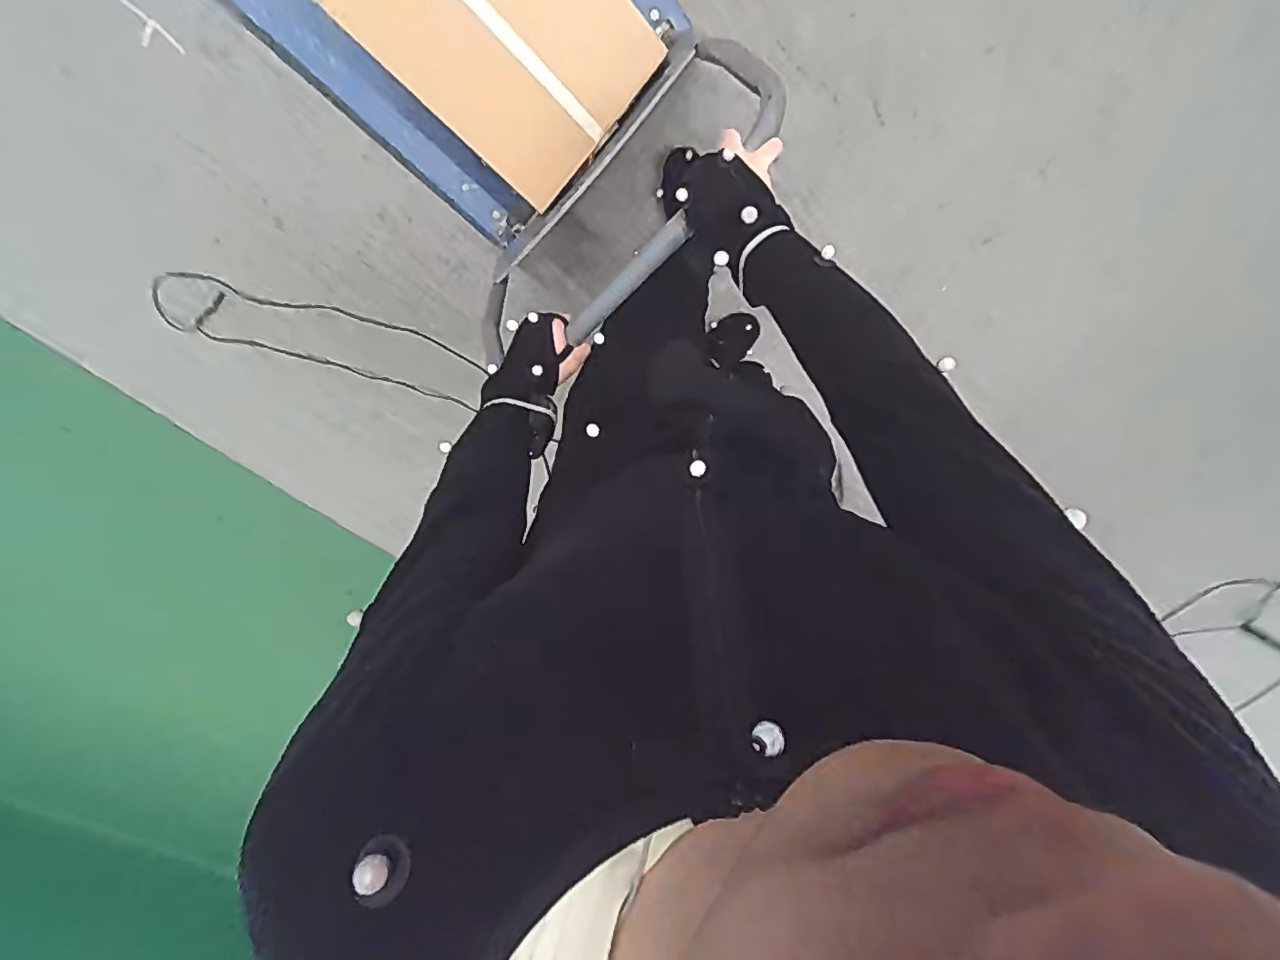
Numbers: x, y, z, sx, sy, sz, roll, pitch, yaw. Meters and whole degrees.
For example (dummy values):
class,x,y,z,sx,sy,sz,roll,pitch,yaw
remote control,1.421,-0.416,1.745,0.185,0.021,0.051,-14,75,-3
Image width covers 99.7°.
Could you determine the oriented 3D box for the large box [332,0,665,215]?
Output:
class,x,y,z,sx,sy,sz,roll,pitch,yaw
large box,-0.210,-0.751,0.928,0.408,0.320,0.320,36,118,-27
